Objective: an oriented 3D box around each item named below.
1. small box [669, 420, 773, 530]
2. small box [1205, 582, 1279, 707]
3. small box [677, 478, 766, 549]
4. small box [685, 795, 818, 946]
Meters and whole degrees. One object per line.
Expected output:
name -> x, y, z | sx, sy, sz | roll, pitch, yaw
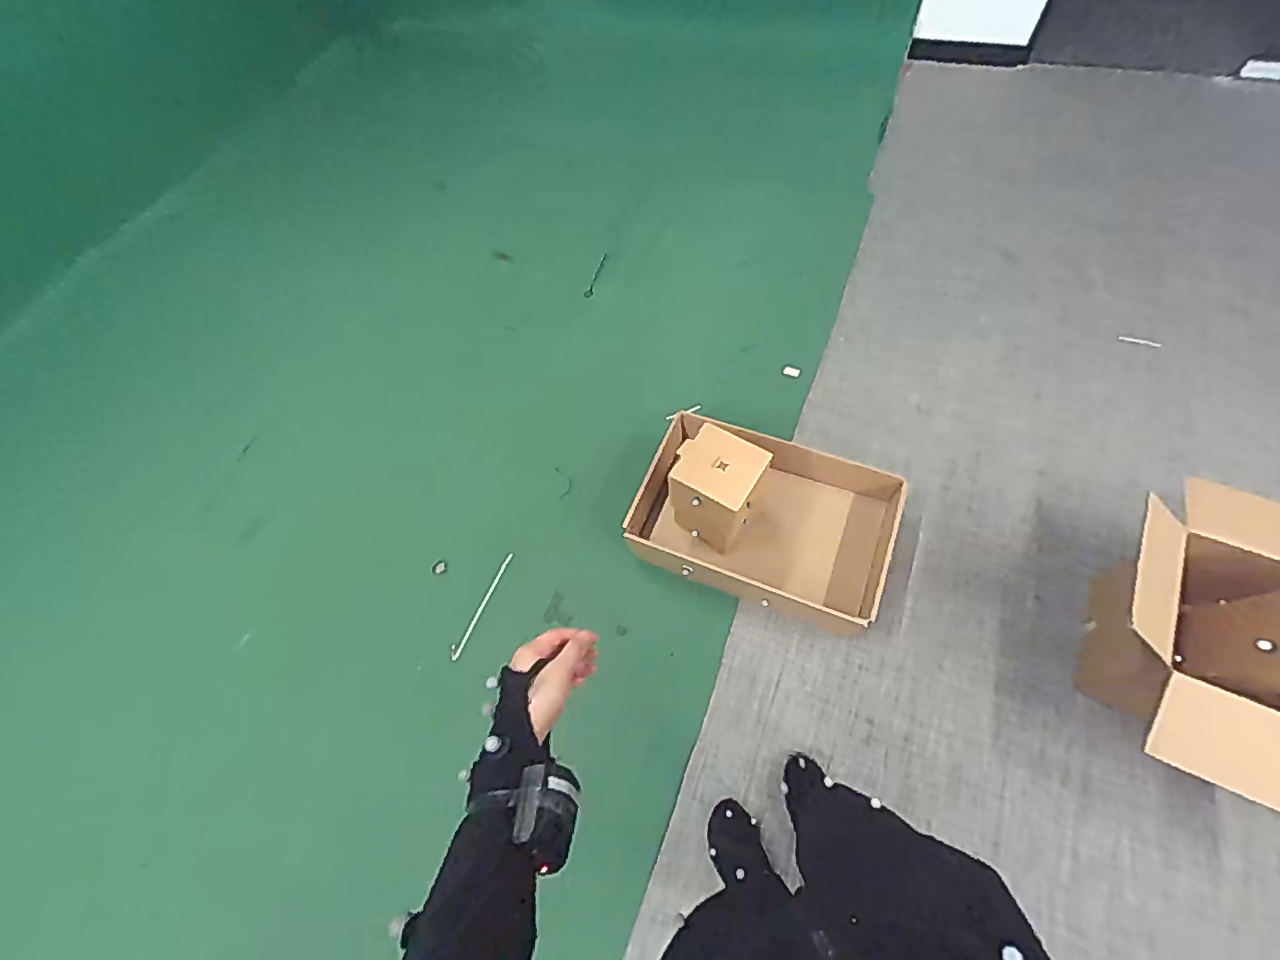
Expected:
small box -> 0.186, -0.004, 1.263 | 0.179, 0.176, 0.168 | 29, 69, 18
small box -> 1.227, 0.316, 1.010 | 0.168, 0.176, 0.179 | 29, 70, 15
small box -> 0.205, 0.050, 1.416 | 0.168, 0.176, 0.179 | 34, 71, 20
small box -> 0.229, 0.771, 1.084 | 0.176, 0.168, 0.179 | 45, 48, -6
